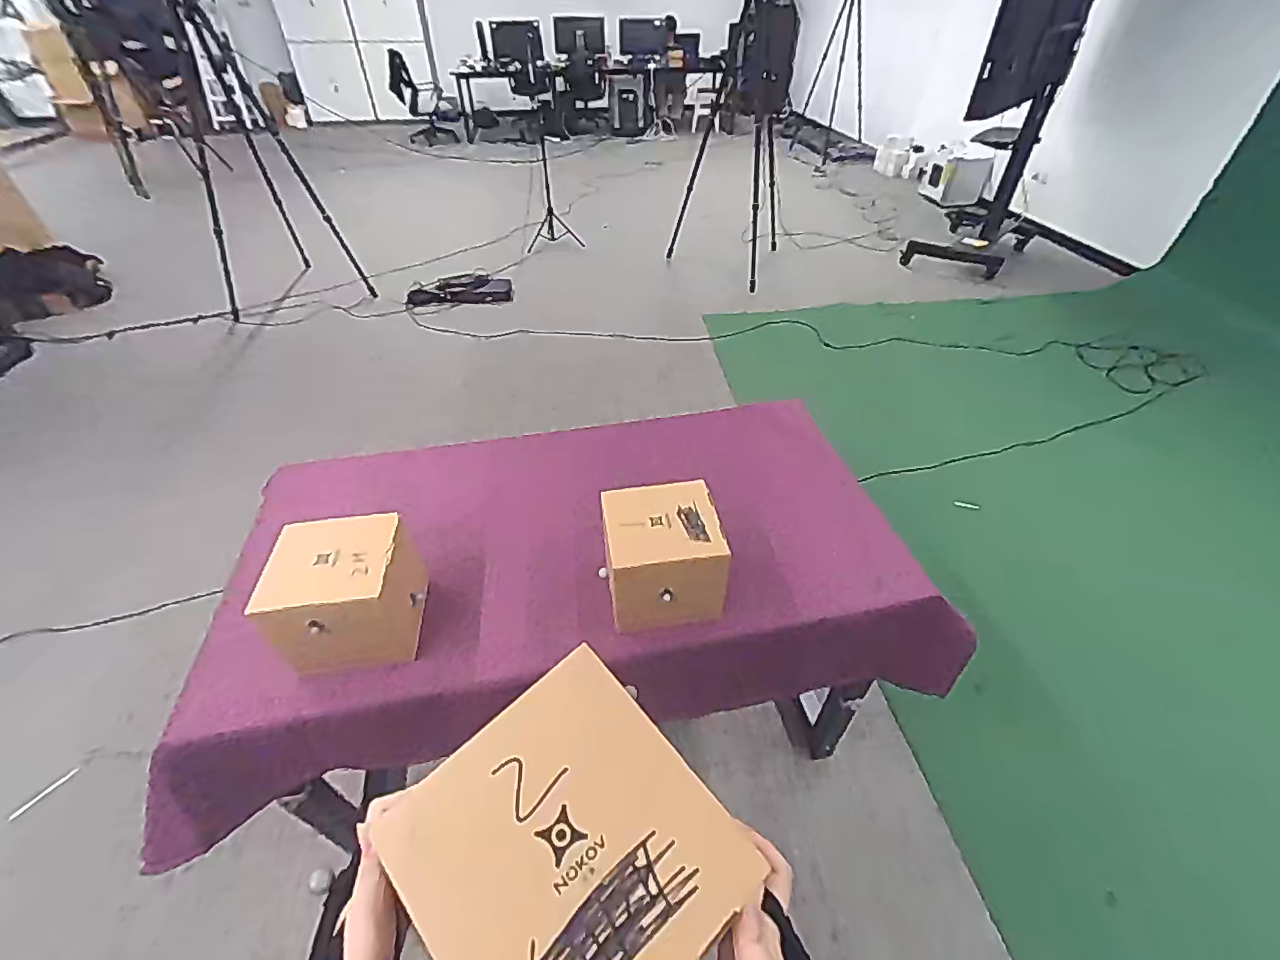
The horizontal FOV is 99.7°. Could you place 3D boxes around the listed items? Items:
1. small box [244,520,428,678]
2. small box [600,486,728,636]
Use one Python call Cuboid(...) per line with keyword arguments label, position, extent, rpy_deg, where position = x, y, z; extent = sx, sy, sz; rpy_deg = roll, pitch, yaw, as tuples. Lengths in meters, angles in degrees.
Cuboid(label="small box", position=(-0.448, 0.185, 0.833), extent=(0.179, 0.176, 0.168), rpy_deg=(-6, 42, -6))
Cuboid(label="small box", position=(0.032, 0.133, 0.886), extent=(0.179, 0.176, 0.168), rpy_deg=(-7, 41, -5))
